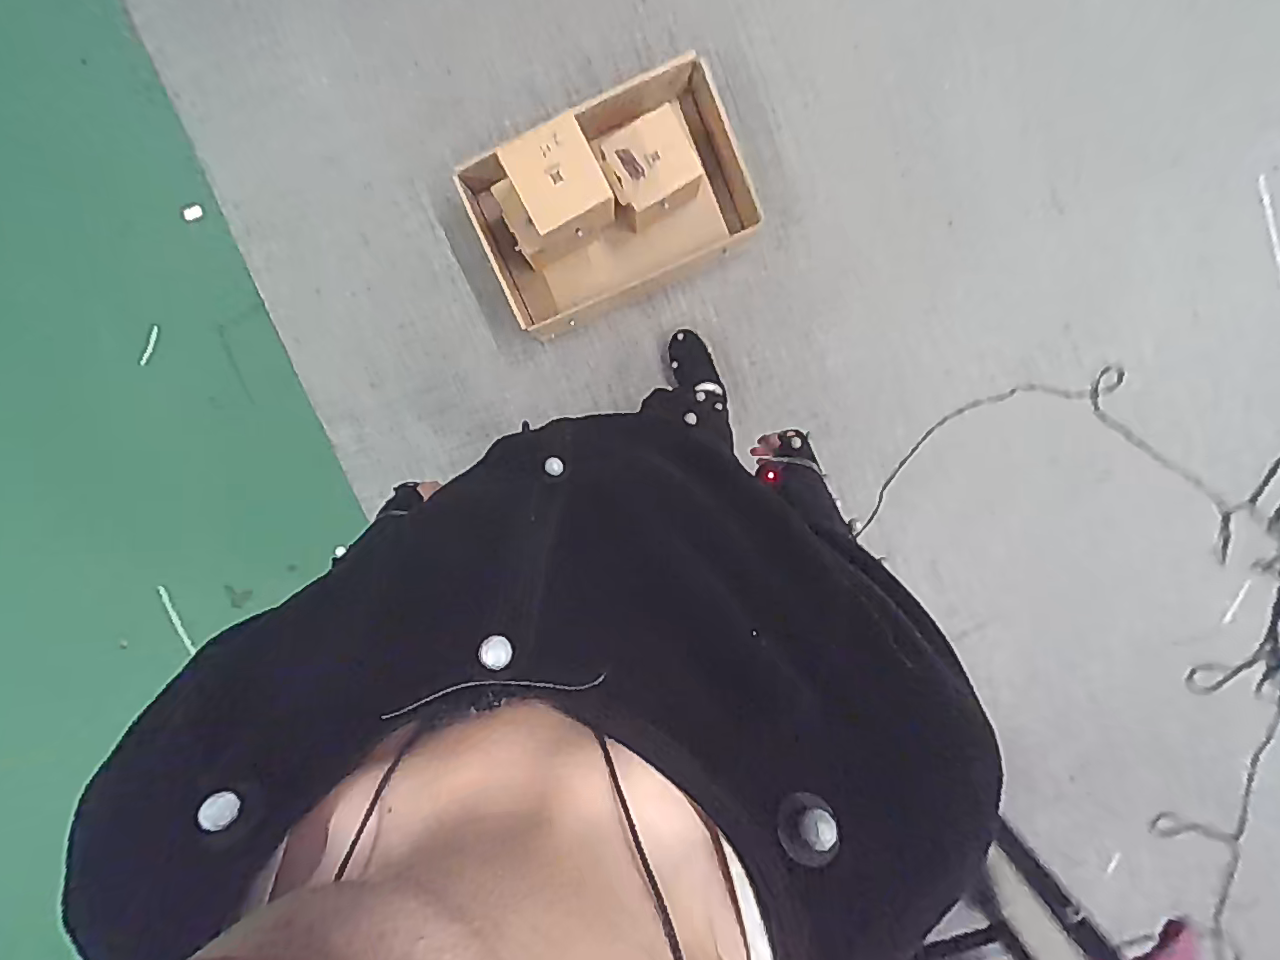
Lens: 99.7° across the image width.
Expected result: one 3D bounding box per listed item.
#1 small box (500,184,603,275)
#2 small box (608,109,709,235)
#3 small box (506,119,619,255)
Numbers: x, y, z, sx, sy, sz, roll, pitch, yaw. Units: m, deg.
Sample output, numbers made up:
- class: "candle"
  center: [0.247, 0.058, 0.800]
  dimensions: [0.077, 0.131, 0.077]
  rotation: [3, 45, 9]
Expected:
- class: "small box"
  center: [-0.202, -0.615, 1.290]
  dimensions: [0.179, 0.176, 0.168]
  rotation: [-26, 99, 3]
- class: "small box"
  center: [0.045, -0.709, 1.271]
  dimensions: [0.179, 0.176, 0.168]
  rotation: [-29, 97, 6]
- class: "small box"
  center: [-0.150, -0.594, 1.129]
  dimensions: [0.168, 0.176, 0.179]
  rotation: [-28, 98, 3]
